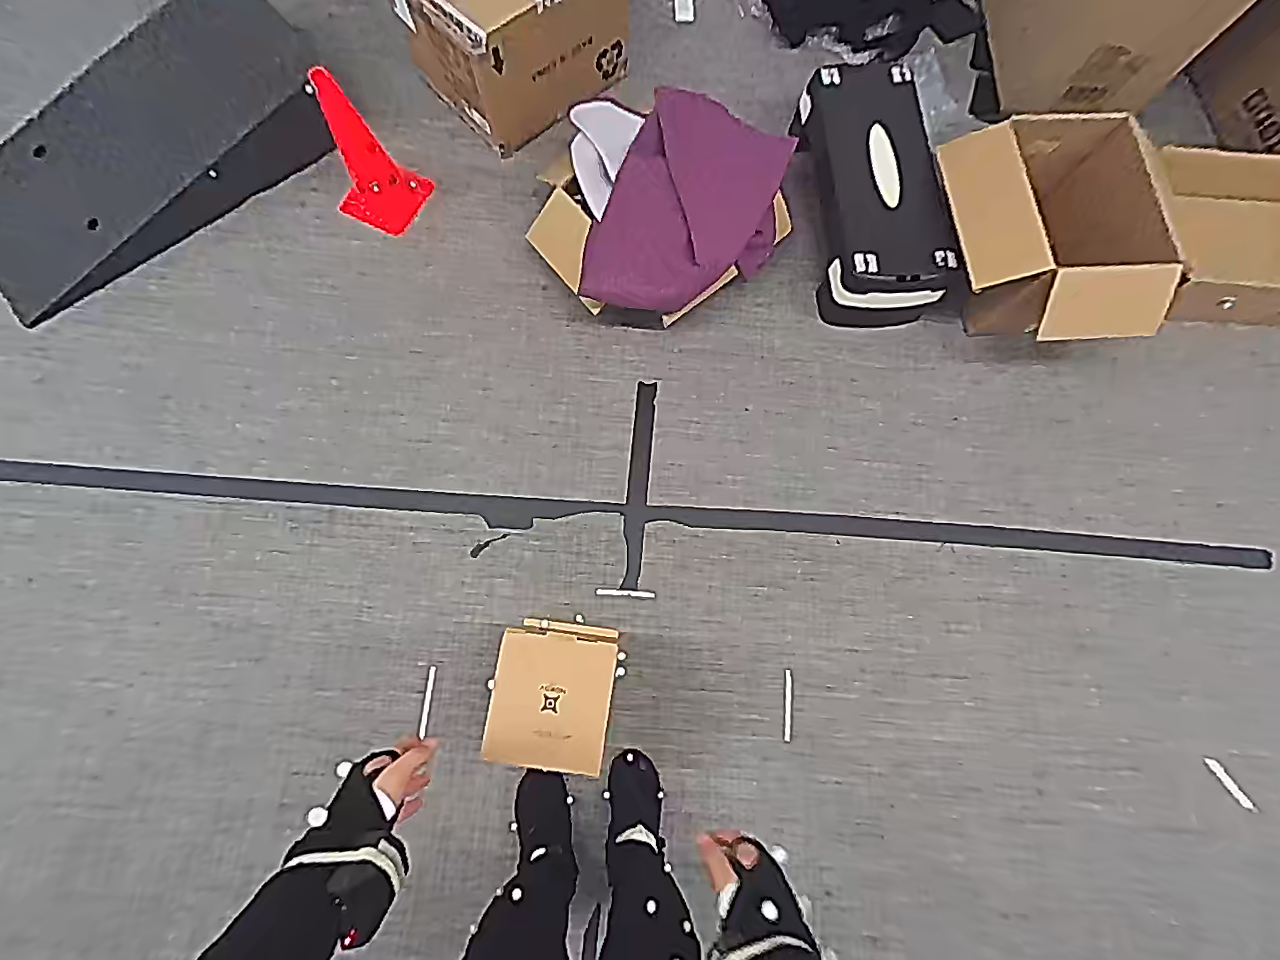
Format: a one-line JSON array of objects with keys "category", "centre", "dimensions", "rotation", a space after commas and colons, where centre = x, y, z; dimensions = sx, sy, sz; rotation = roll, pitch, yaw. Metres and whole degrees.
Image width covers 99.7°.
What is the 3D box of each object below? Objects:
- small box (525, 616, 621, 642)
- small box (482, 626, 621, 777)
[{"category": "small box", "centre": [-0.129, 0.345, 0.979], "dimensions": [0.168, 0.176, 0.179], "rotation": [8, 77, 0]}, {"category": "small box", "centre": [-0.123, 0.320, 0.817], "dimensions": [0.168, 0.176, 0.179], "rotation": [8, 77, 0]}]
